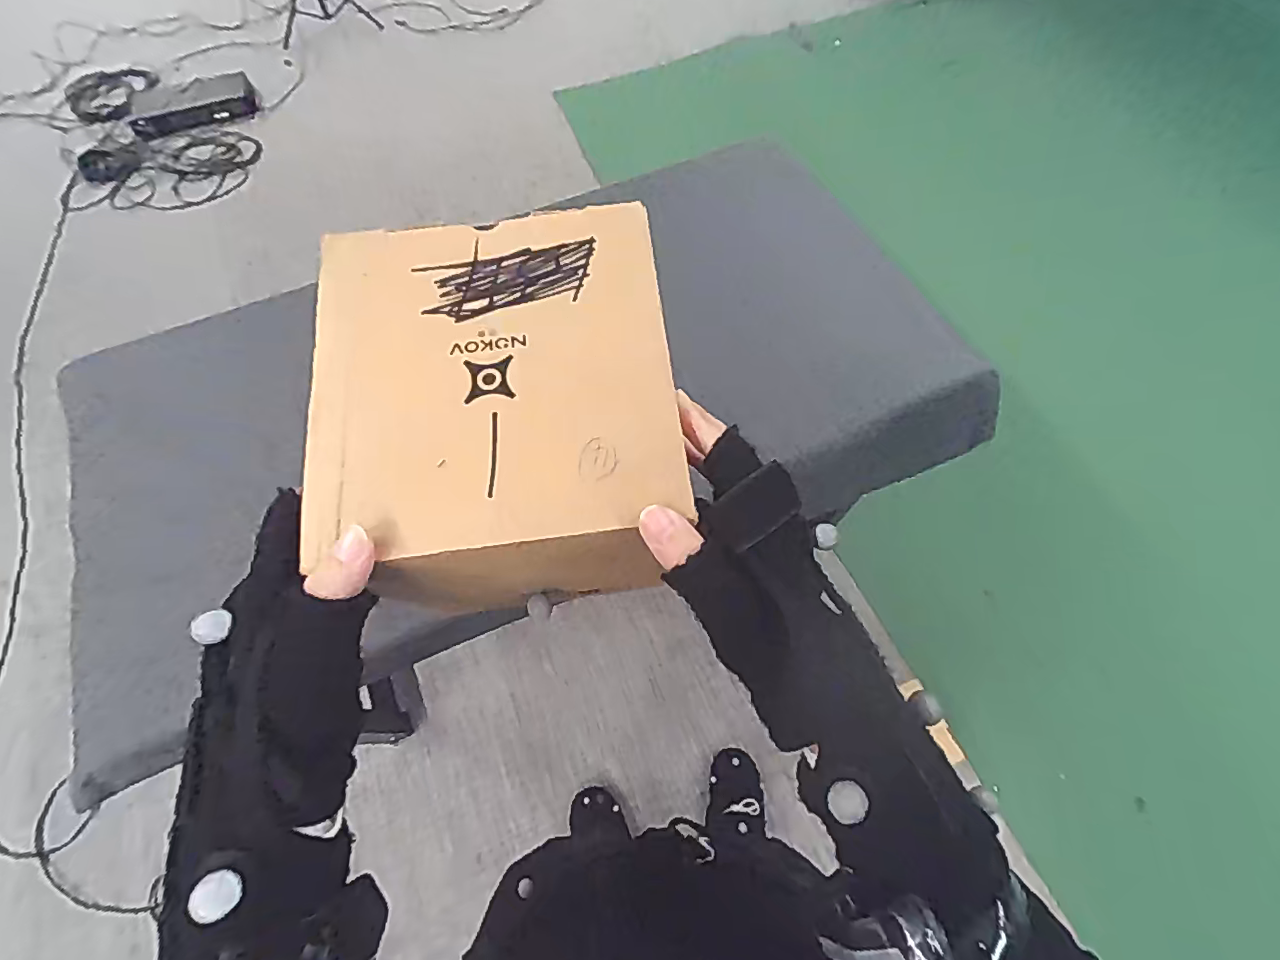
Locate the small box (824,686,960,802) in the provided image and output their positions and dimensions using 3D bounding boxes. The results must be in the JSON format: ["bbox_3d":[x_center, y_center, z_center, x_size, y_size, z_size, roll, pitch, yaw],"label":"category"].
[{"bbox_3d":[0.524,0.558,1.154,0.179,0.176,0.168,-20,64,-7],"label":"small box"}]

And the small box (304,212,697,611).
[{"bbox_3d":[-0.063,-0.025,0.326,0.168,0.176,0.179,-6,71,-1],"label":"small box"}]
